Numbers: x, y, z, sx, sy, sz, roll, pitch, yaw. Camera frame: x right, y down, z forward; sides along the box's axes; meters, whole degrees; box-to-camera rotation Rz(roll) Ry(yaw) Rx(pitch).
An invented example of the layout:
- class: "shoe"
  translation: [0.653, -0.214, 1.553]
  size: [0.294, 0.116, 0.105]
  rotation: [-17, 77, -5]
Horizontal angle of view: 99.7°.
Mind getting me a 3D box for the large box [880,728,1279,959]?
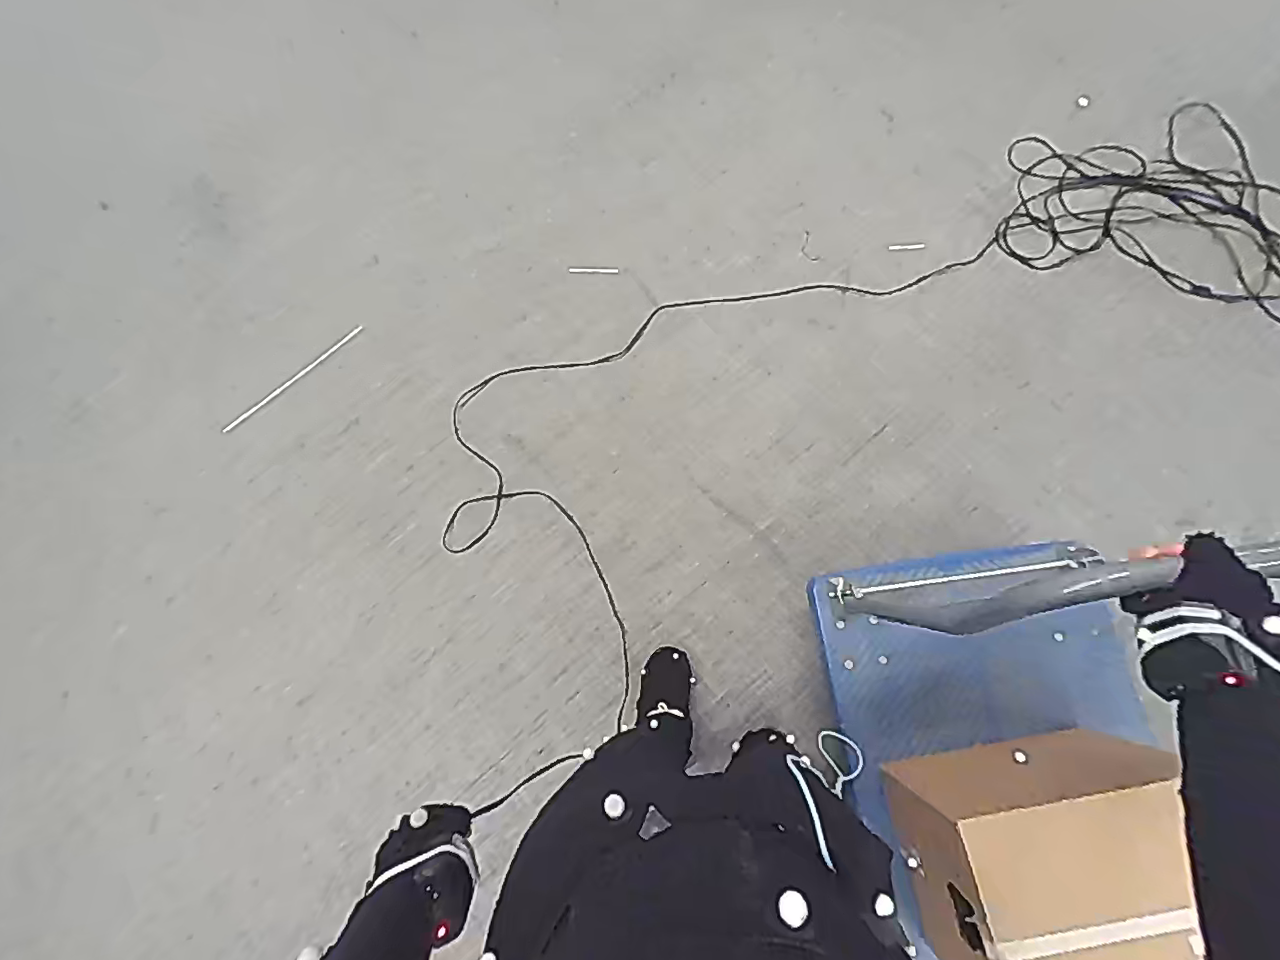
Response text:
- class: "large box"
  translation: [0.677, 0.623, 0.865]
  size: [0.408, 0.320, 0.320]
  rotation: [-12, 76, 0]
